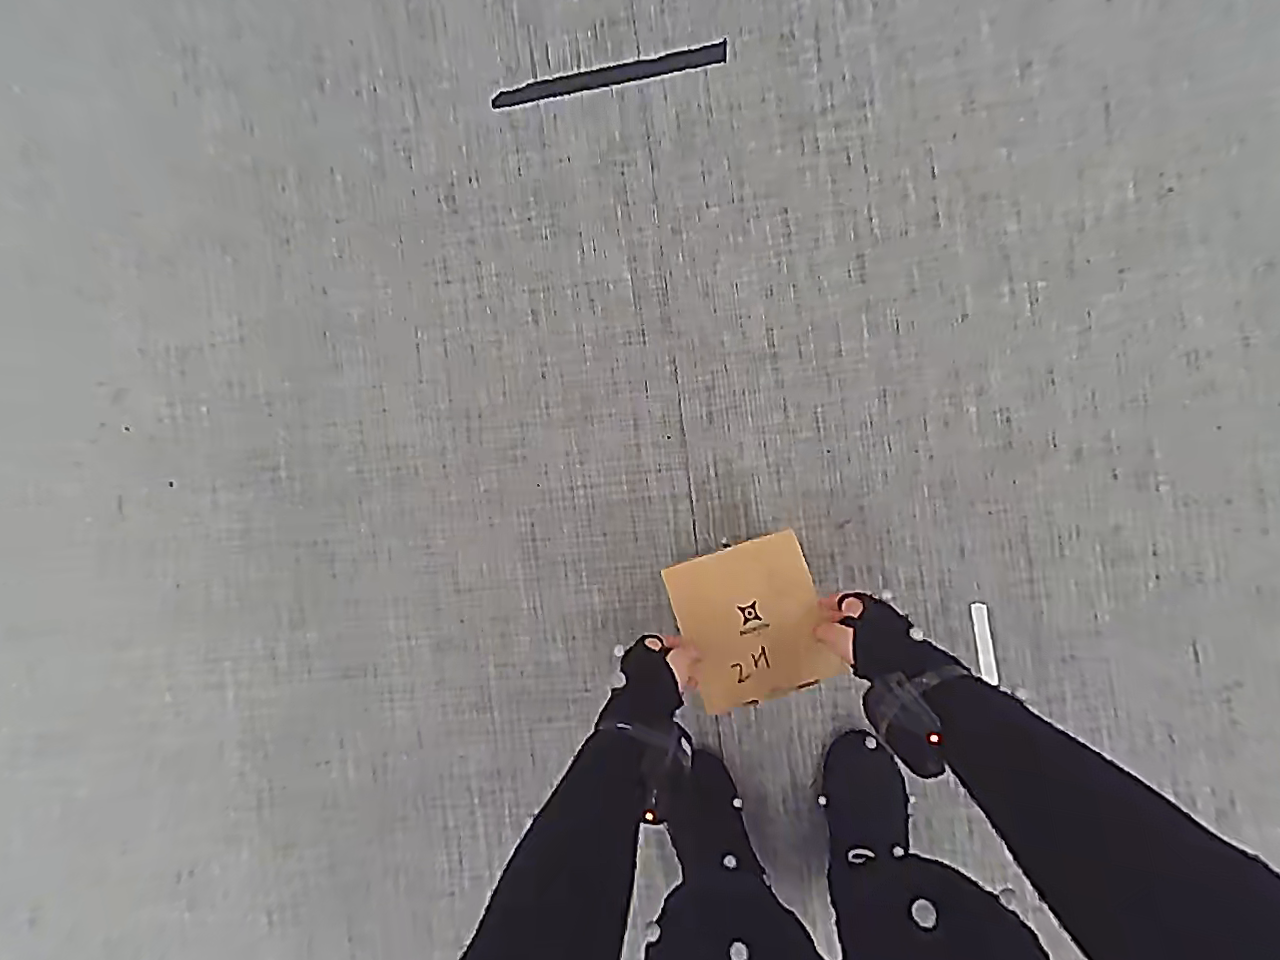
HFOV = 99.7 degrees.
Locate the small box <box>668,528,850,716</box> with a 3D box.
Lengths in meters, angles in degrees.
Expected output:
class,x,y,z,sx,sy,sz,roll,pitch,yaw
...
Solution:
class,x,y,z,sx,sy,sz,roll,pitch,yaw
small box,0.139,0.173,0.694,0.168,0.176,0.179,-18,81,3
